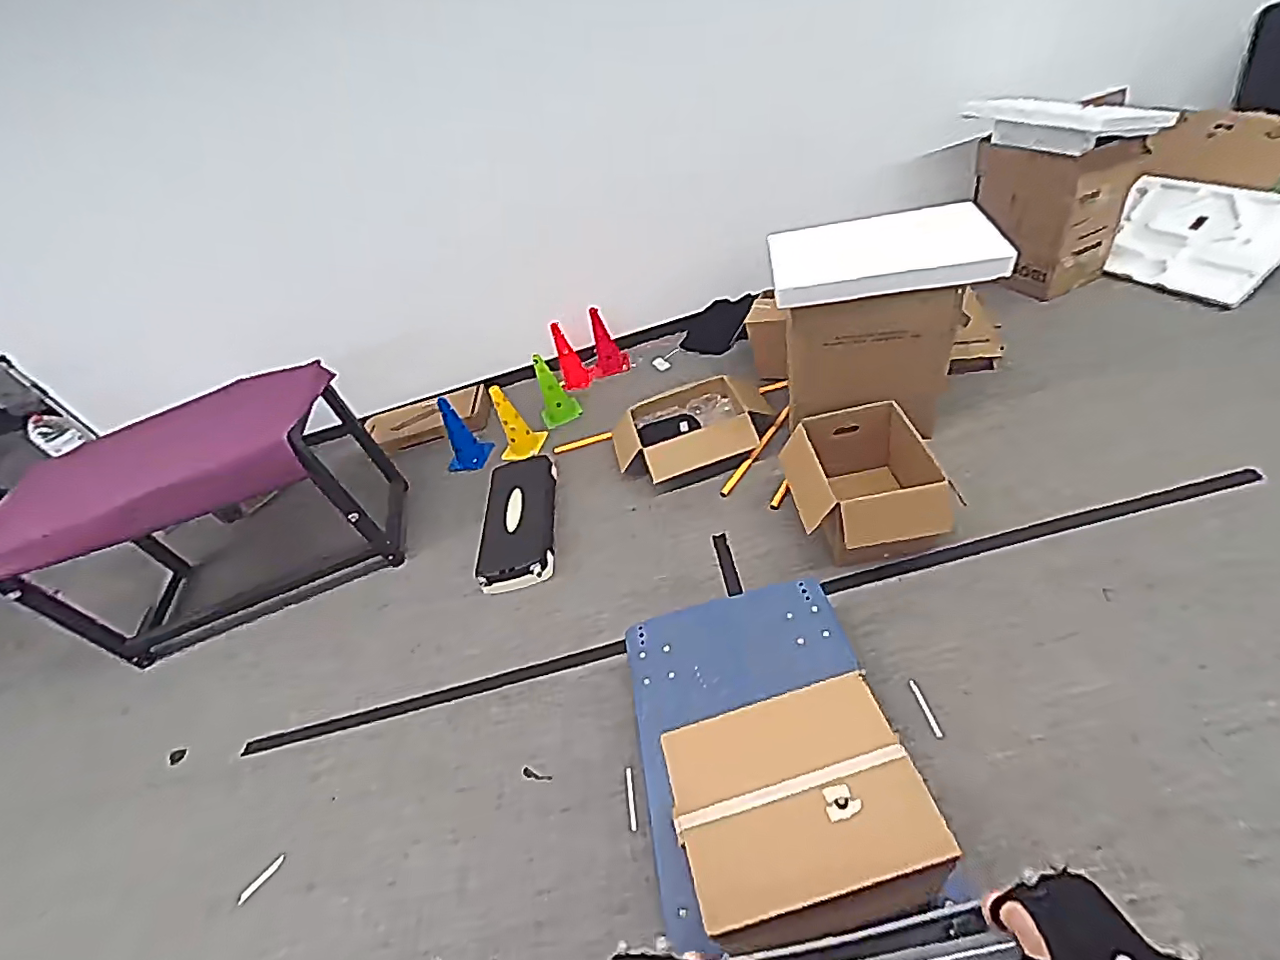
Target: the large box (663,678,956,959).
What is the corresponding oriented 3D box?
[{"bbox_3d":[0.295,0.645,1.021,0.408,0.320,0.320,-18,41,0],"label":"large box"}]
